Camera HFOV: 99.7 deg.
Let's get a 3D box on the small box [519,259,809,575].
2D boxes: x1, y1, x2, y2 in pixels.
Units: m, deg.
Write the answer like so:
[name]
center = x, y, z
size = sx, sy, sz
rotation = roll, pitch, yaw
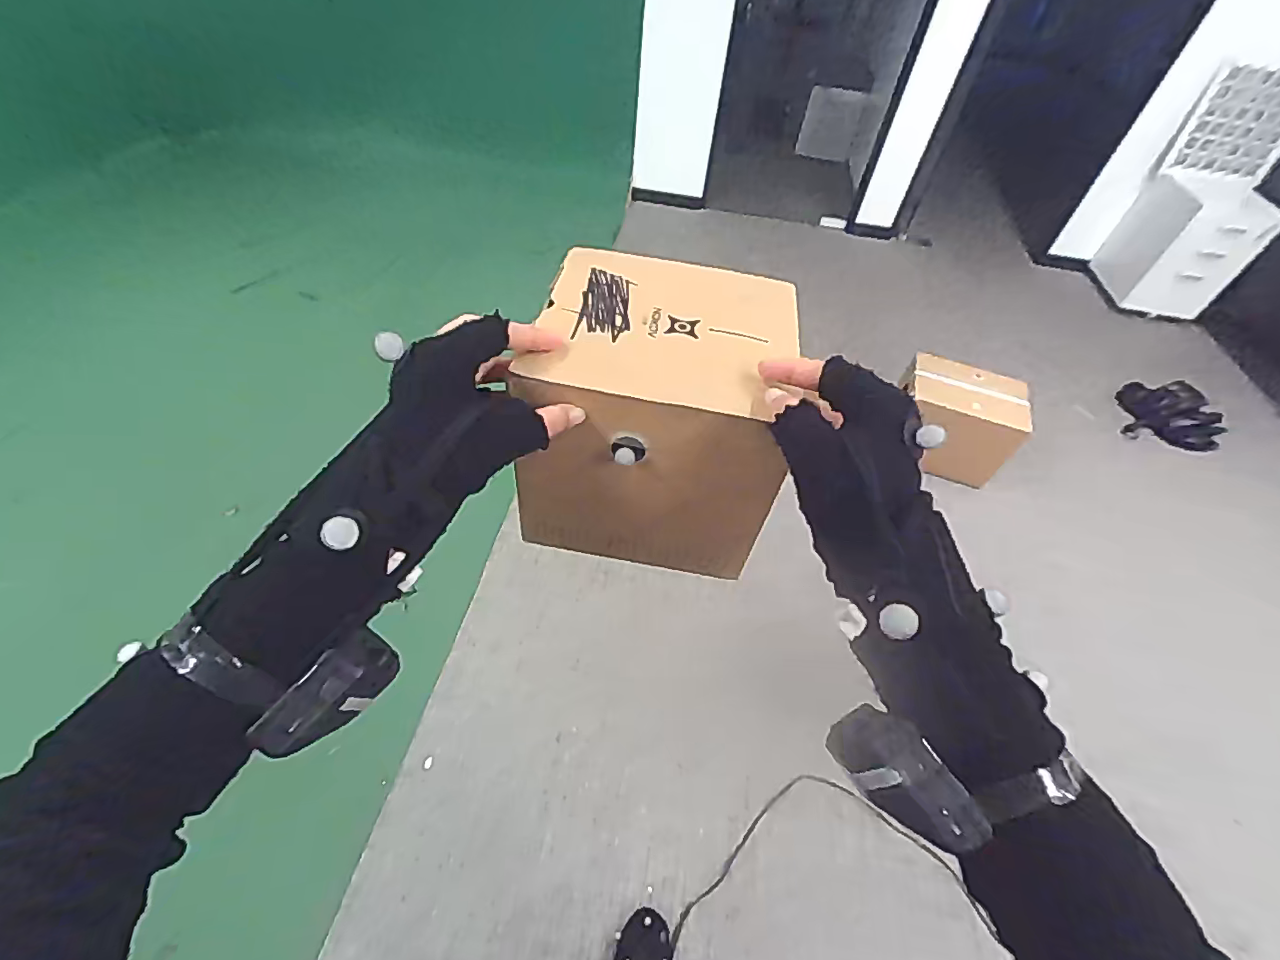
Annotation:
[small box]
center = 0.017, -0.046, 0.426
size = 0.179, 0.176, 0.168
rotation = 11, 48, 1
